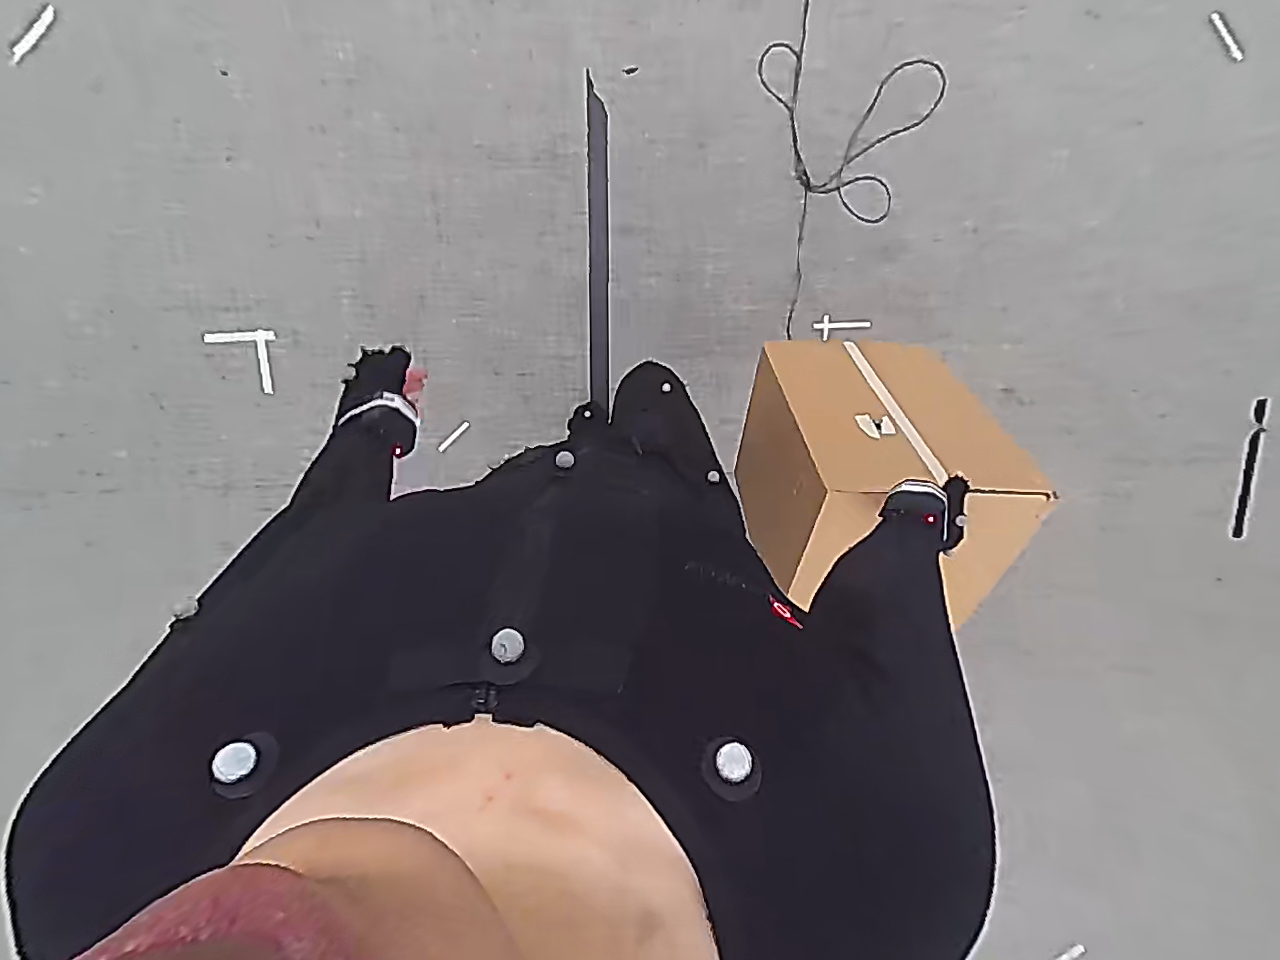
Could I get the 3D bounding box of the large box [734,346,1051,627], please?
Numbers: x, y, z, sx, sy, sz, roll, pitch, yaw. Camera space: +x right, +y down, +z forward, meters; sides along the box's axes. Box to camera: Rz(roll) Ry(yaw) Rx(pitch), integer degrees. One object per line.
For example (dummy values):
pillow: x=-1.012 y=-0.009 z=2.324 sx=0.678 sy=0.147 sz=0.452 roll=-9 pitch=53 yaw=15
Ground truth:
large box: x=0.376 y=0.003 z=0.952 sx=0.320 sy=0.408 sz=0.320 roll=1 pitch=132 yaw=-4
